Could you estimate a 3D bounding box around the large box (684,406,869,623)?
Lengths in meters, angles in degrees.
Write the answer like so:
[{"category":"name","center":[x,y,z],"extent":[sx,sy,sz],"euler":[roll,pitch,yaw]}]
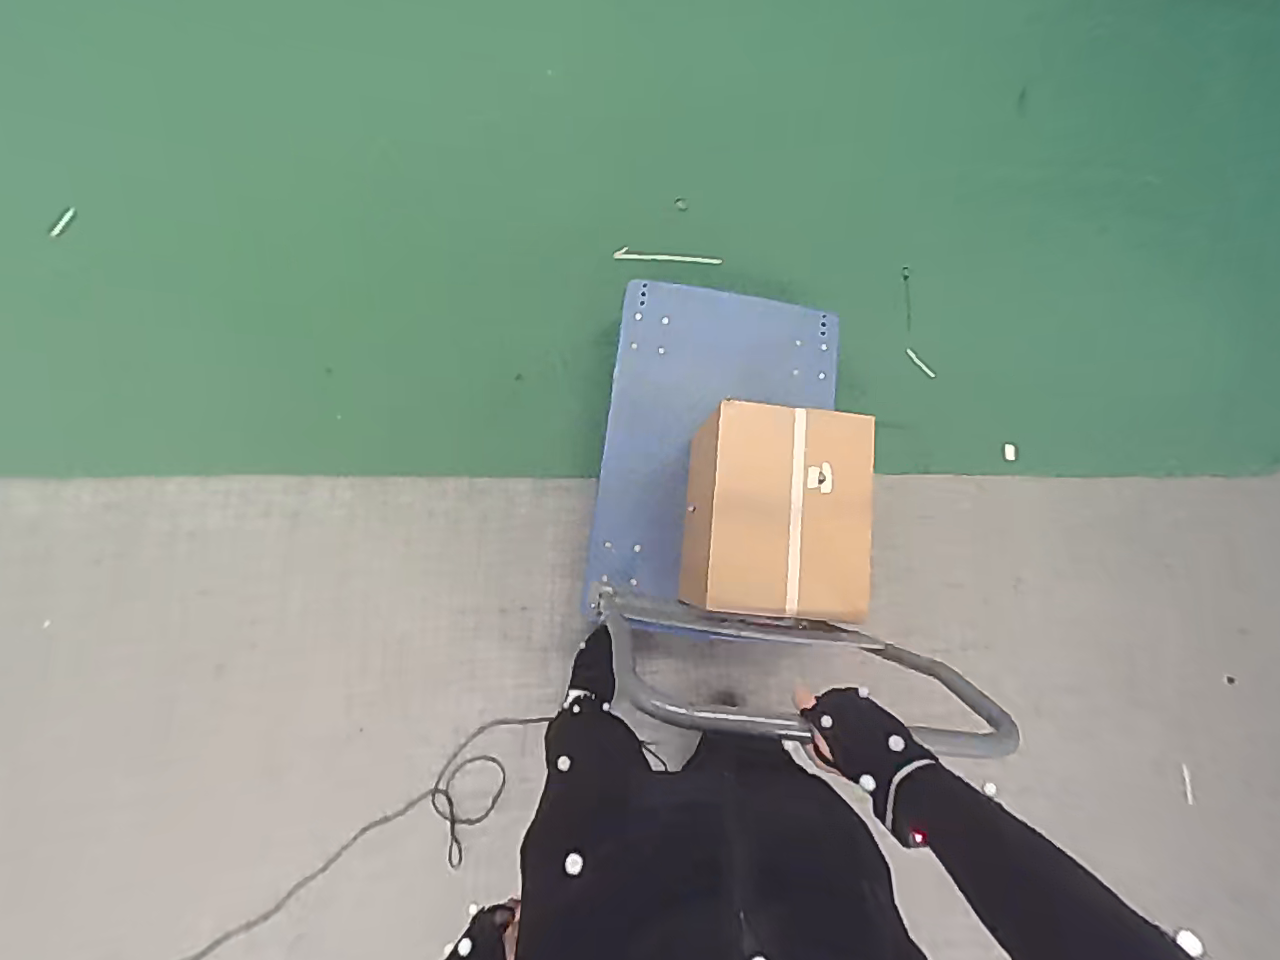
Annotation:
[{"category":"large box","center":[0.279,0.088,1.183],"extent":[0.320,0.320,0.408],"euler":[6,80,-5]}]
